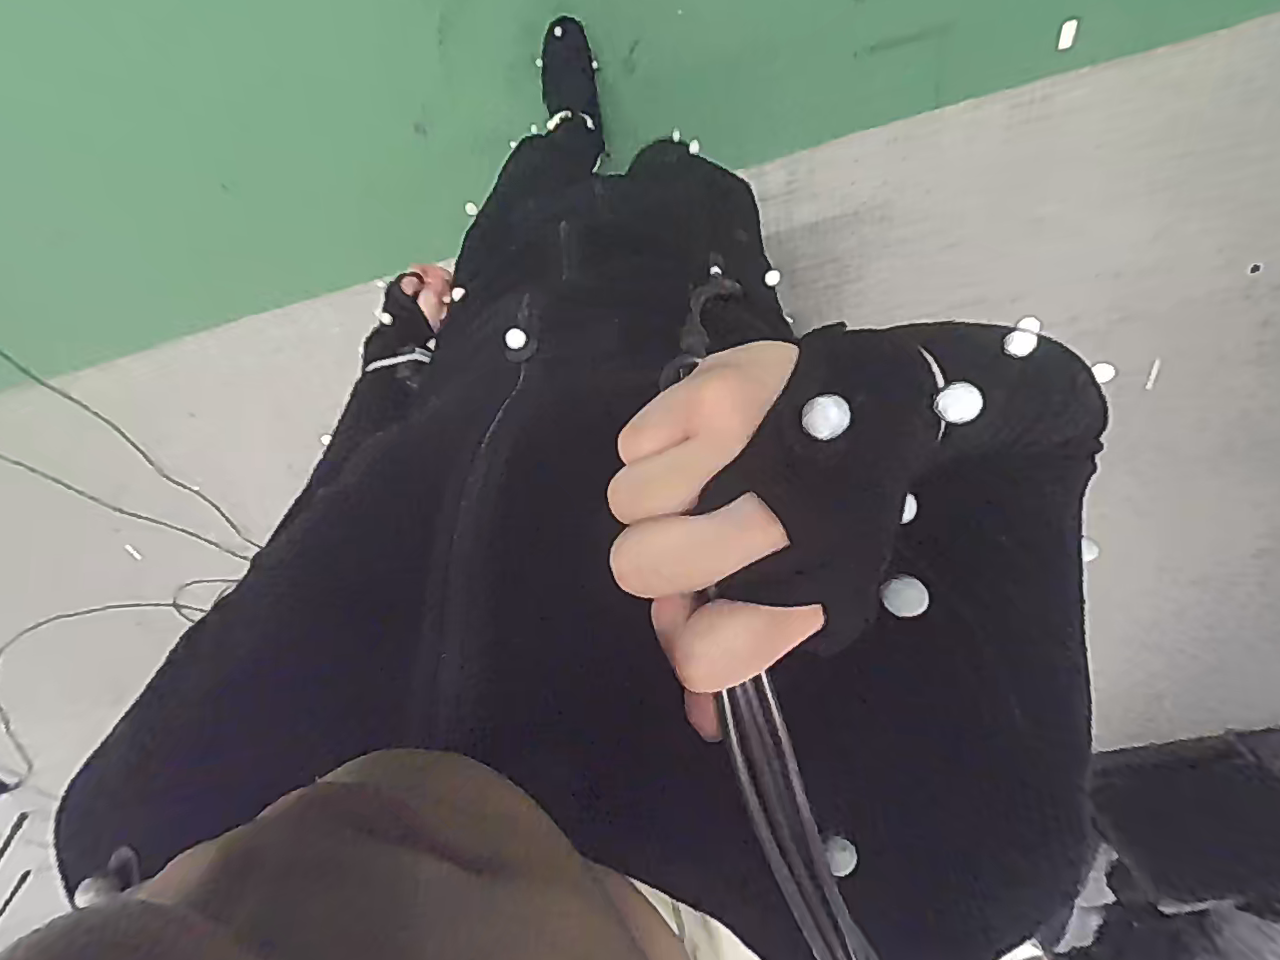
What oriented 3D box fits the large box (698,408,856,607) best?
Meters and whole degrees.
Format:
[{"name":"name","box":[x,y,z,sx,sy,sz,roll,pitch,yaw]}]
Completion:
[{"name":"large box","box":[0.374,0.076,1.499,0.320,0.320,0.408,-16,125,8]}]
